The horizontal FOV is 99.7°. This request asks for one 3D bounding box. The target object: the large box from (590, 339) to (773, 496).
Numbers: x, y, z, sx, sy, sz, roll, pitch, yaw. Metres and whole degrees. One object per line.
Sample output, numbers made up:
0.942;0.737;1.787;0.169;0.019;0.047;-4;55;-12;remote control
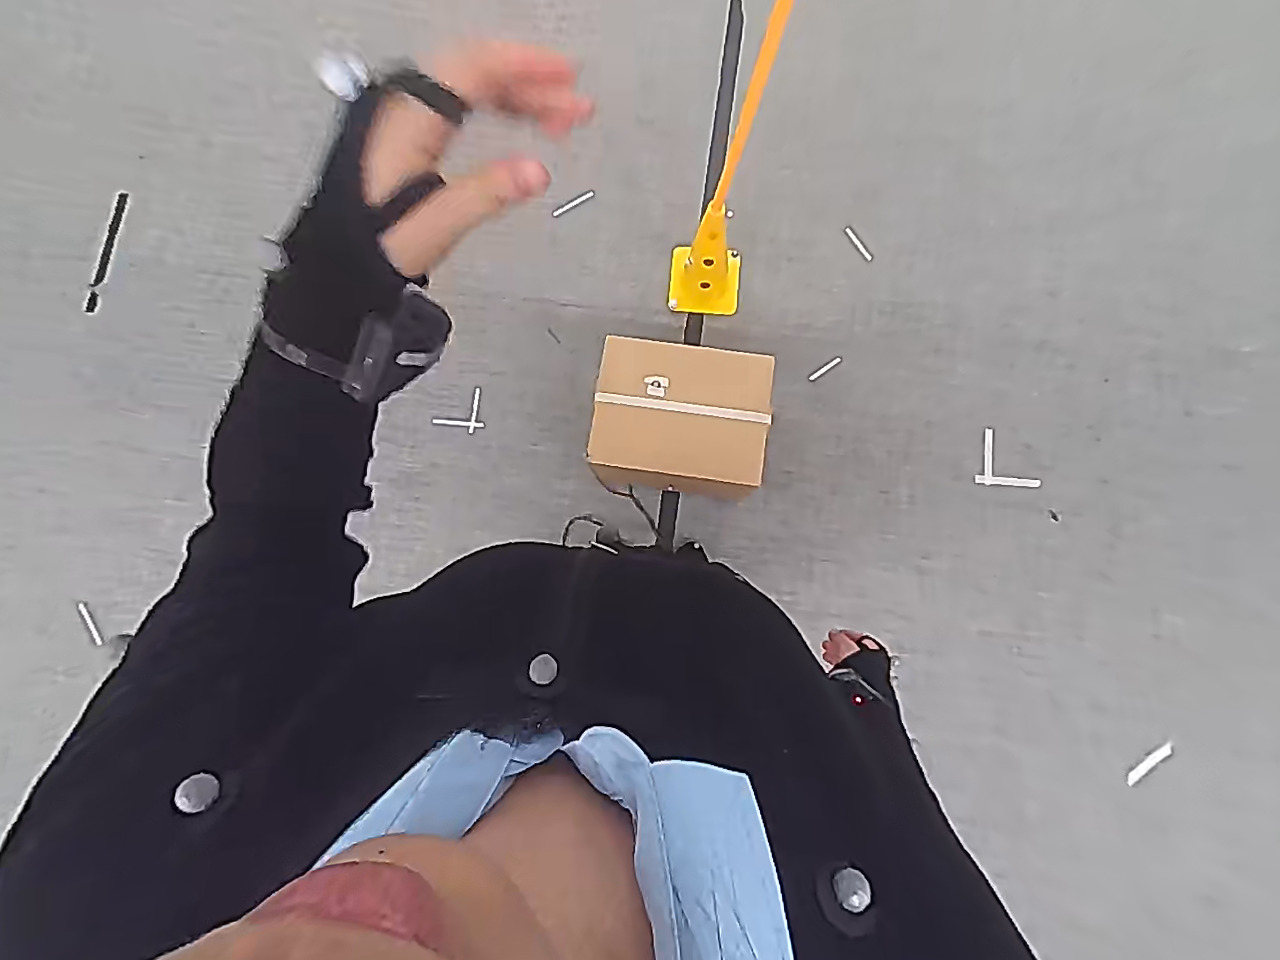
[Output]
0.108;-0.144;1.406;0.408;0.320;0.320;8;81;4;large box
